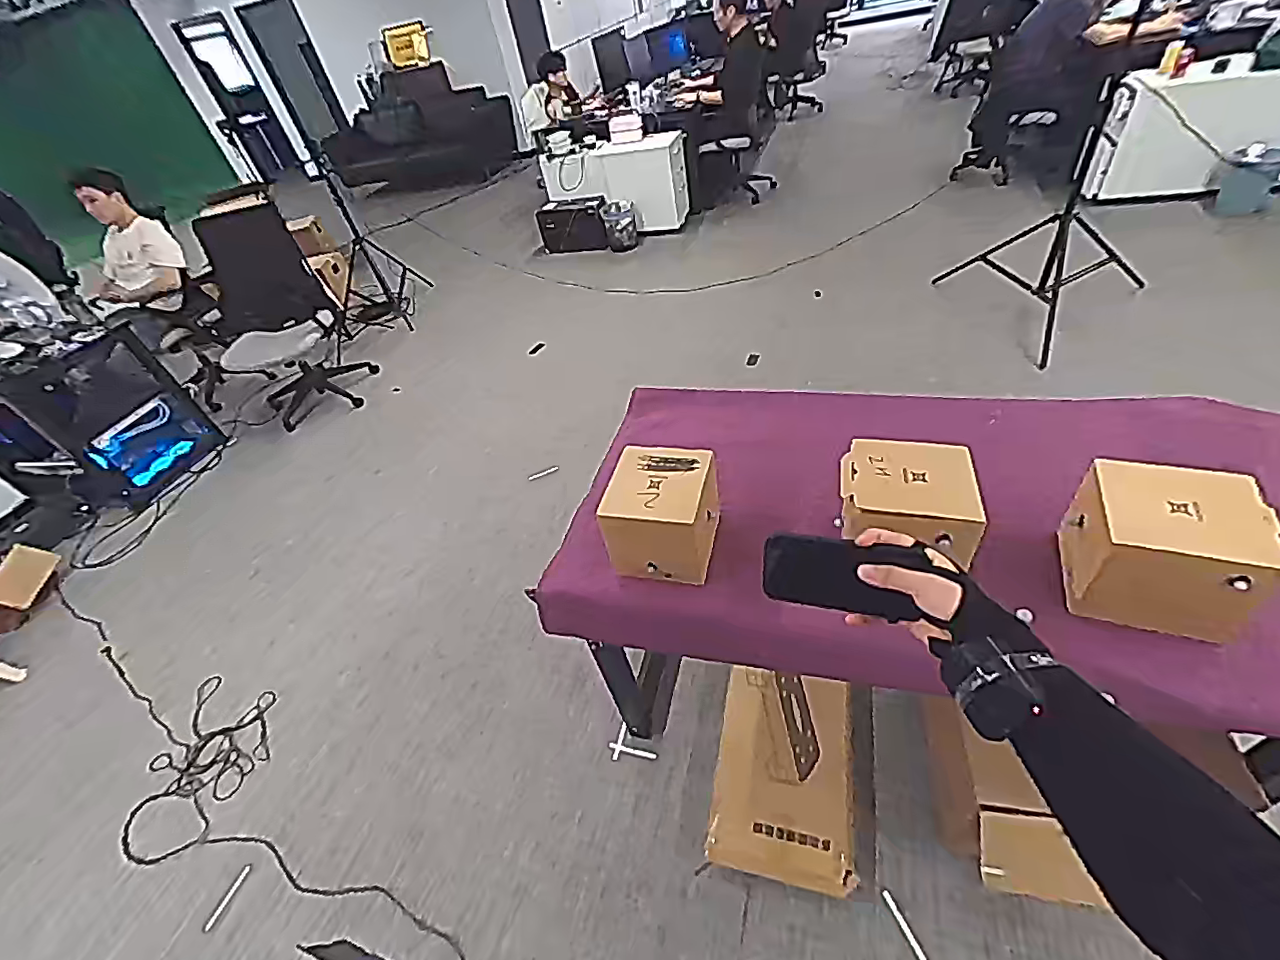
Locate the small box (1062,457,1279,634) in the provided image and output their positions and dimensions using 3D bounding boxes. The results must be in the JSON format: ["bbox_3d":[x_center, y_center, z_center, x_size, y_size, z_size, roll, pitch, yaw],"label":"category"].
[{"bbox_3d":[0.722,0.091,0.755,0.179,0.176,0.168,9,47,22],"label":"small box"}]

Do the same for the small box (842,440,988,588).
[{"bbox_3d":[0.426,0.055,0.867,0.179,0.176,0.168,3,43,18],"label":"small box"}]
